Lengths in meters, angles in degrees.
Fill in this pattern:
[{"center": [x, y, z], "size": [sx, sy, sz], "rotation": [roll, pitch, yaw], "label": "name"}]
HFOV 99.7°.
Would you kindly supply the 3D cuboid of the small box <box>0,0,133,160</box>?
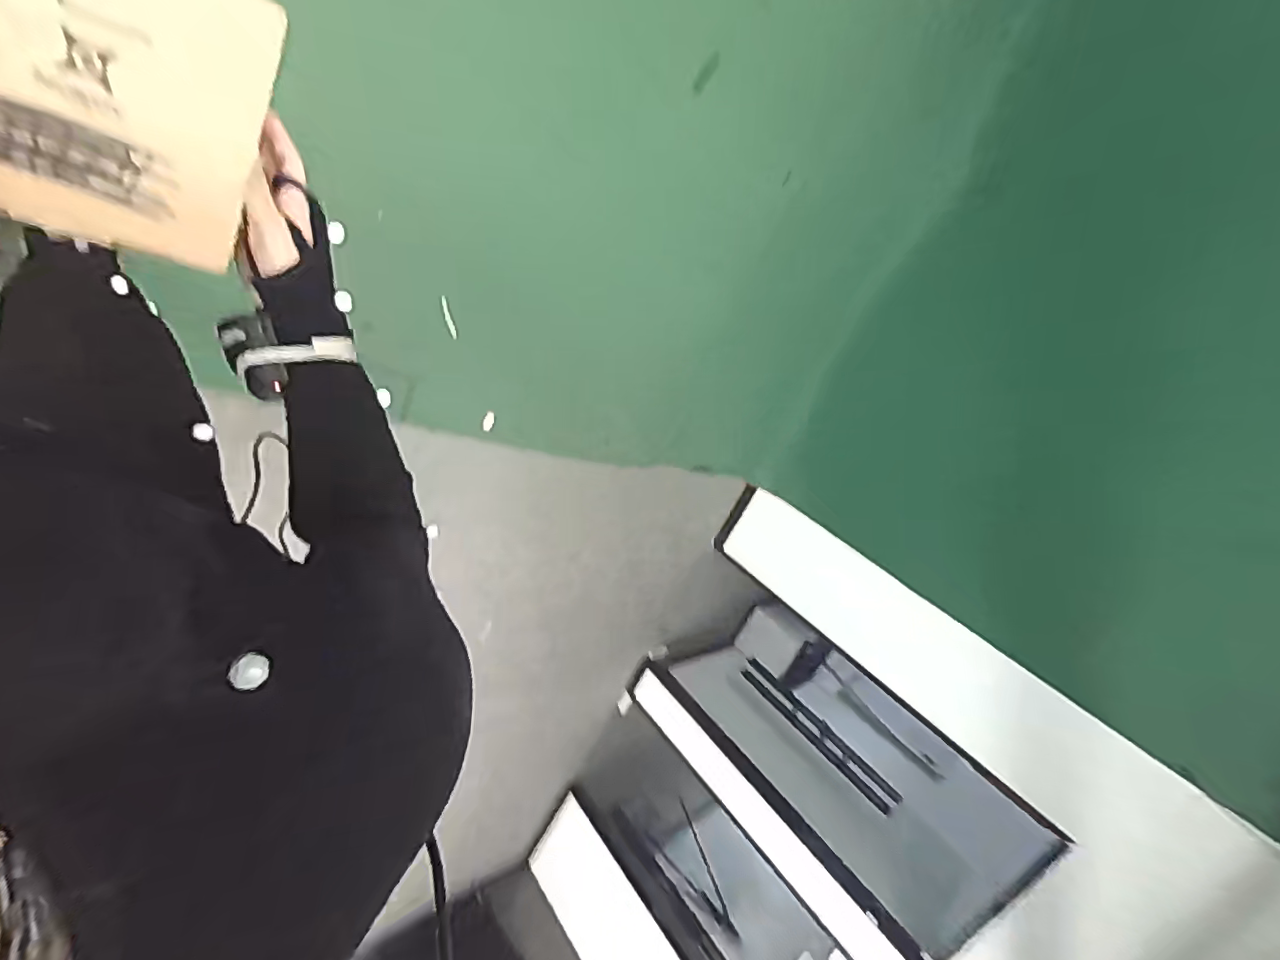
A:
[{"center": [-0.781, -0.550, 0.682], "size": [0.168, 0.176, 0.179], "rotation": [15, 110, -52], "label": "small box"}]
